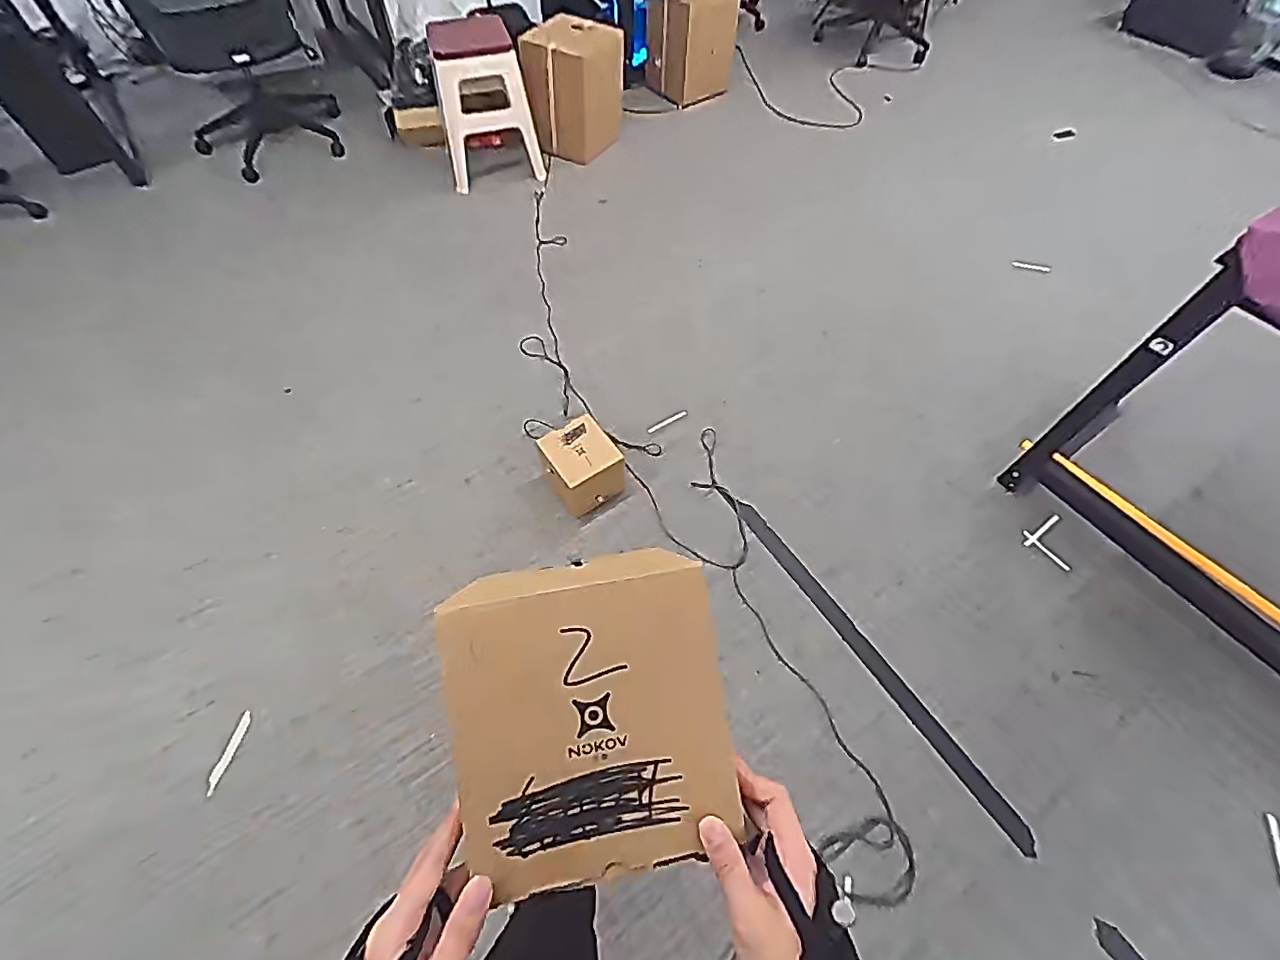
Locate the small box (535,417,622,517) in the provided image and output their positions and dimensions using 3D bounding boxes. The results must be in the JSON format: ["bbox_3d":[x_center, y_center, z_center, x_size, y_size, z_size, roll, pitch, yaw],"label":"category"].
[{"bbox_3d":[-0.164,-0.031,1.463,0.168,0.176,0.179,-31,65,-18],"label":"small box"}]
